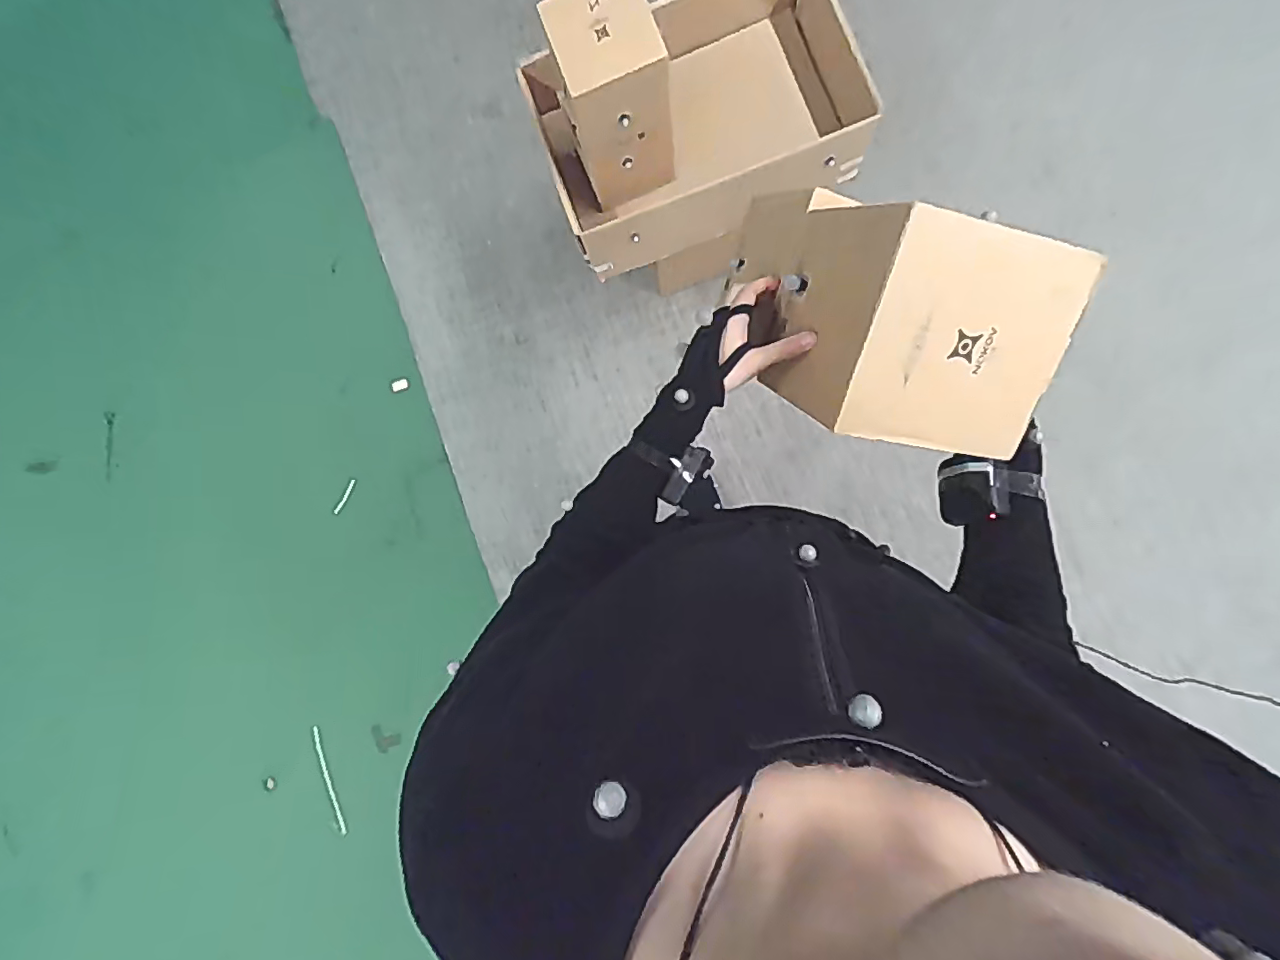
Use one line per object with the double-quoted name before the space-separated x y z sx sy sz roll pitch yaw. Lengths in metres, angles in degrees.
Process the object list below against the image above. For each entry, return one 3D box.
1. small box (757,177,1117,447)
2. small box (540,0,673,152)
"small box" 0.227 -0.143 0.465 0.179 0.176 0.168 8 112 -13
"small box" -0.047 -0.700 0.921 0.168 0.176 0.179 -20 84 4
